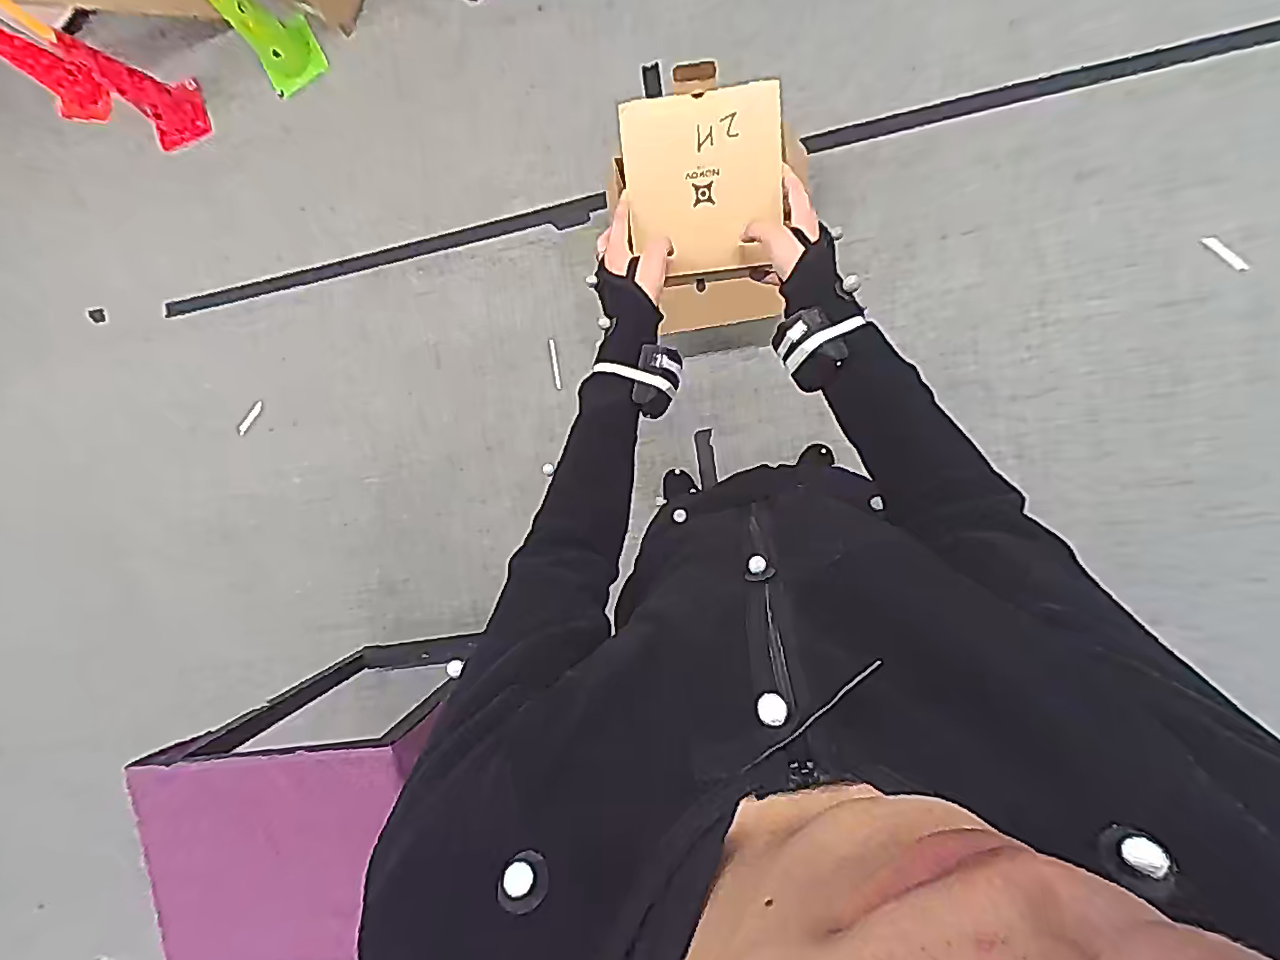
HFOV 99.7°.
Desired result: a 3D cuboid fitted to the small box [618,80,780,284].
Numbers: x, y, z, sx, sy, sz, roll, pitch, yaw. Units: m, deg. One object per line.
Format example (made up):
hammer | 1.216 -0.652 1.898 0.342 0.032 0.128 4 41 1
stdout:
small box | 0.070 -0.336 0.650 0.168 0.176 0.179 -5 106 4
